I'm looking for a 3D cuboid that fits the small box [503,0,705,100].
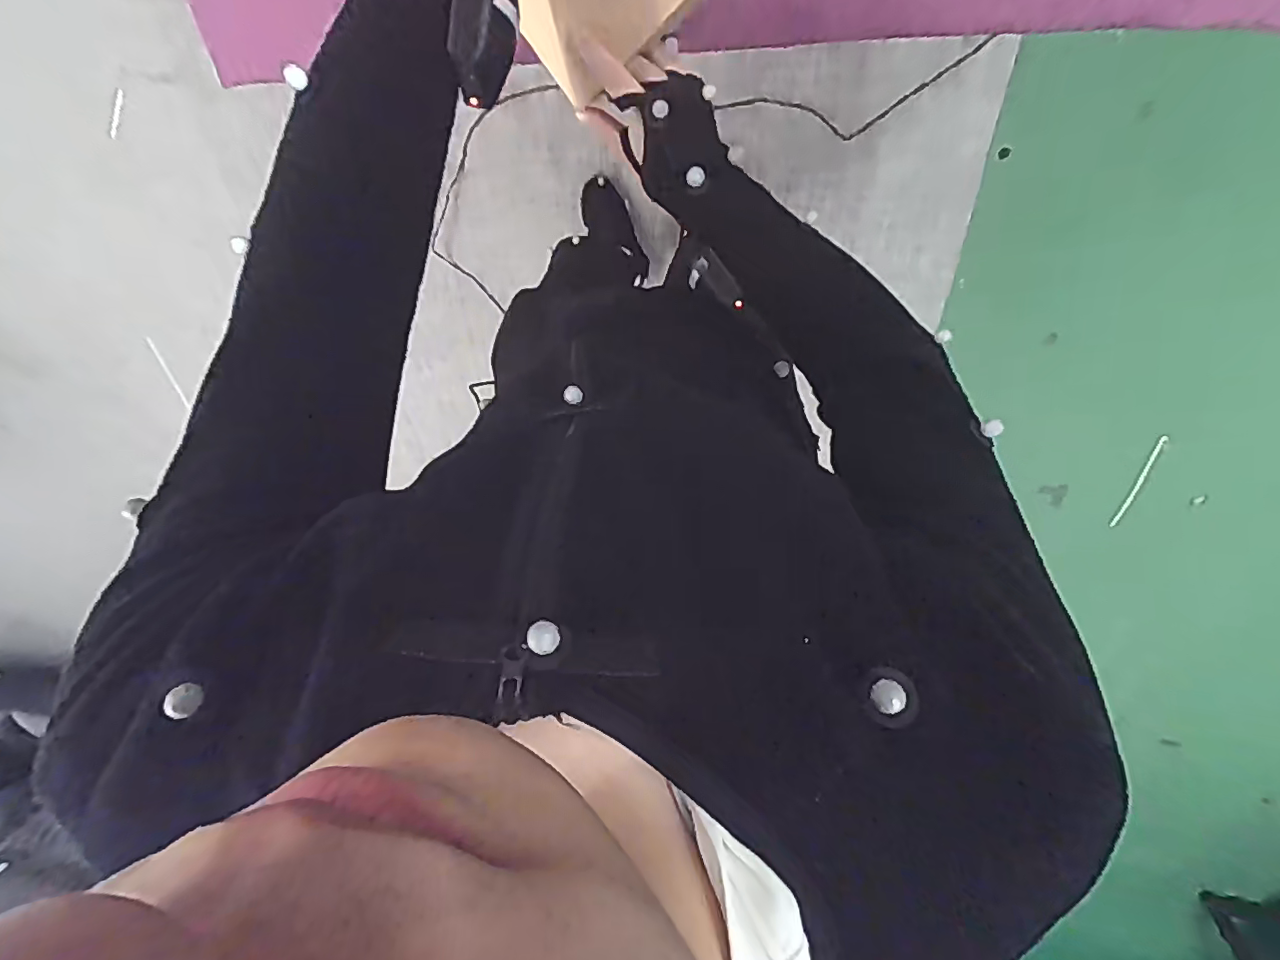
[{"bbox_3d":[-0.027,-0.471,0.453,0.168,0.176,0.179,-19,124,37],"label":"small box"}]
